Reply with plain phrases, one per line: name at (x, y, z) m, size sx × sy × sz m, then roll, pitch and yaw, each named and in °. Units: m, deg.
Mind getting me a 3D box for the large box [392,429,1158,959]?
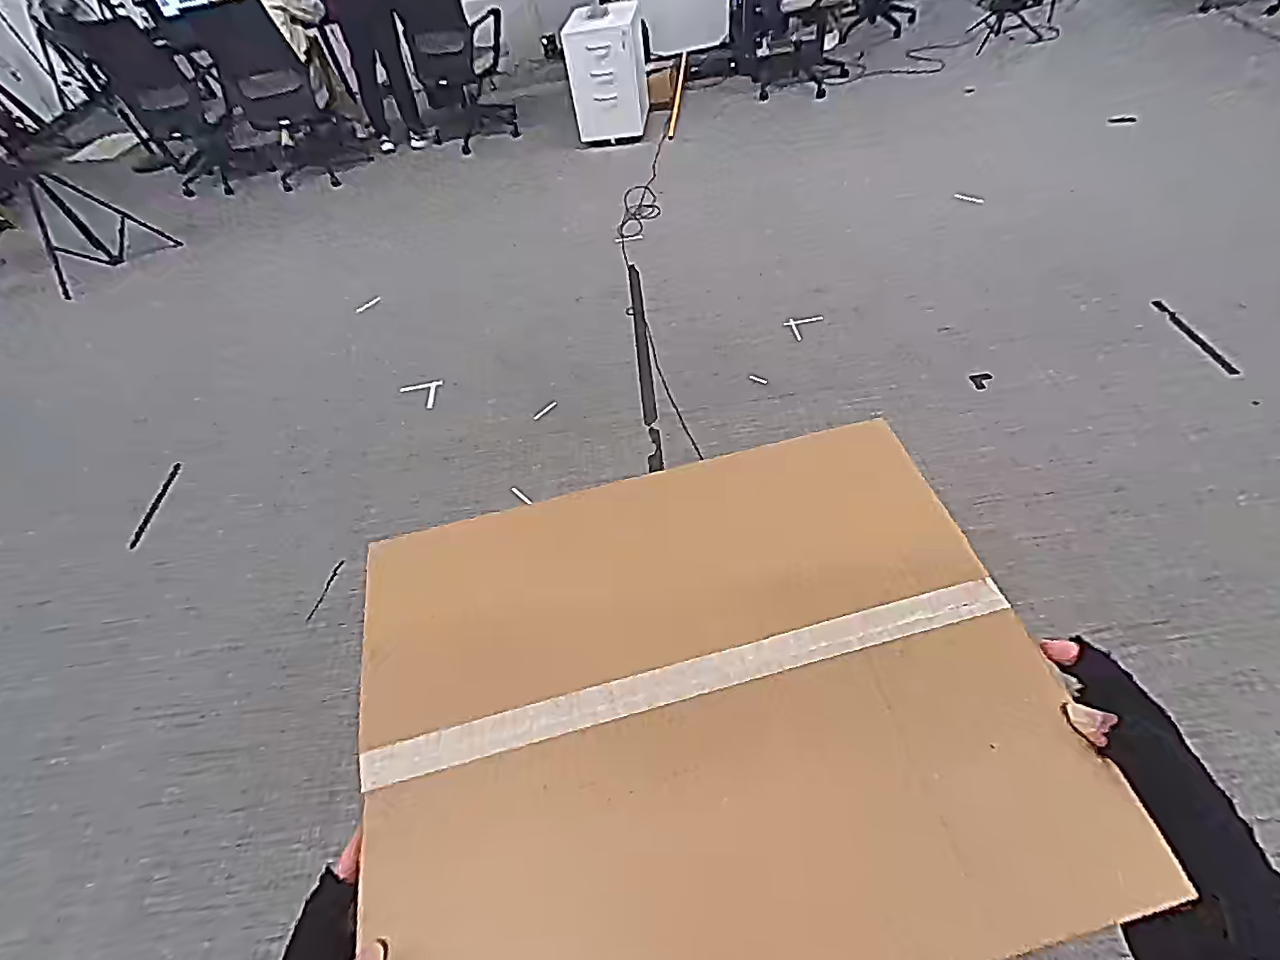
large box at (0.051, 0.210, 0.467) m, size 0.408 × 0.320 × 0.320 m, roll -14°, pitch 57°, yaw -4°
